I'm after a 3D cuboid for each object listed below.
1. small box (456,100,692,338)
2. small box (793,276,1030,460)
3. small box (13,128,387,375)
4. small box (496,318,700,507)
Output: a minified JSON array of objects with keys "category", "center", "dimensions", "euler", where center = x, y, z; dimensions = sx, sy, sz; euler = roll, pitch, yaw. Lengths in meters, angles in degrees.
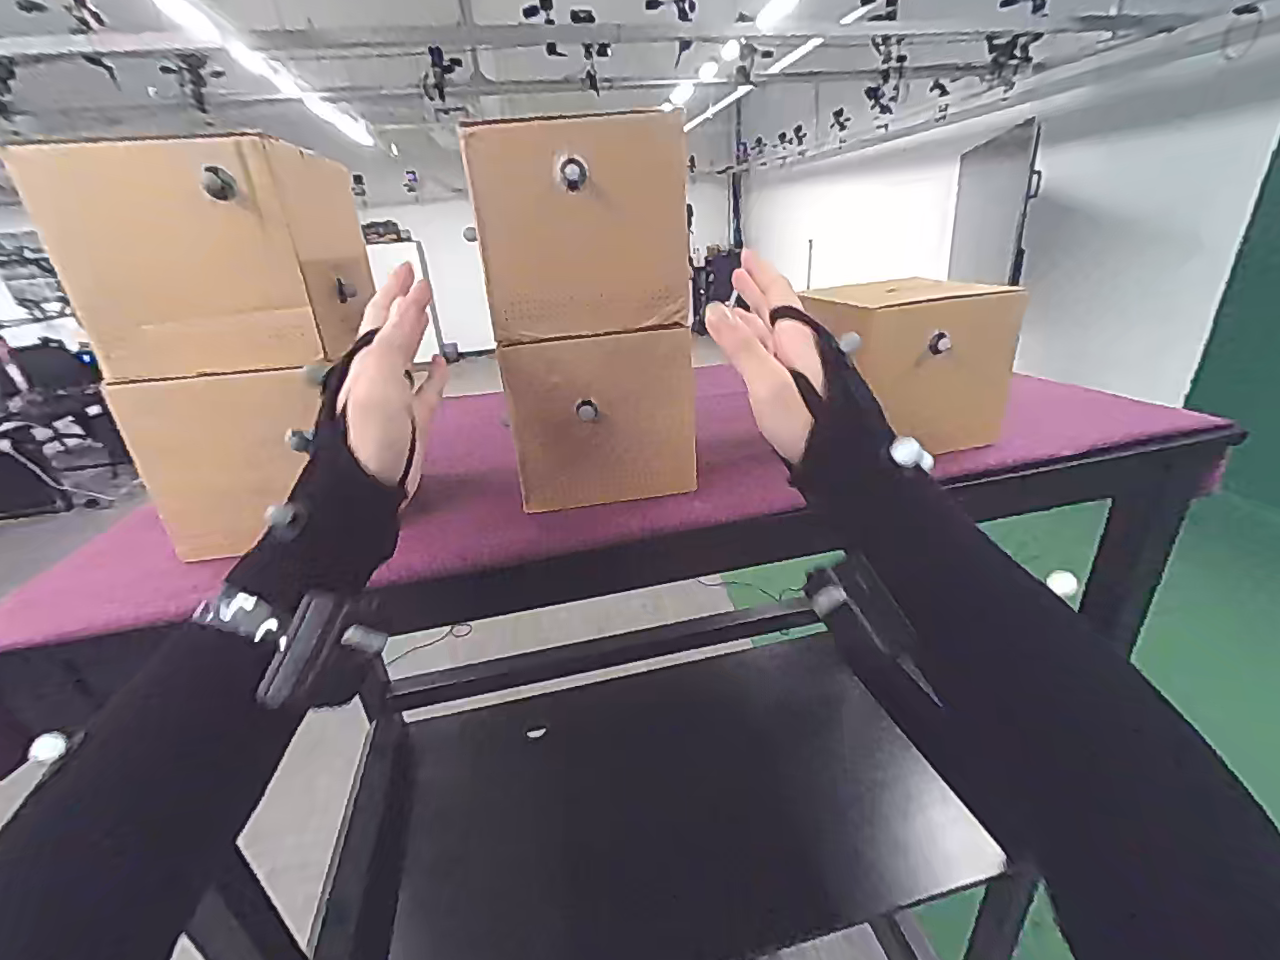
[{"category":"small box","center":[-0.054,-0.233,0.512],"dimensions":[0.179,0.176,0.168],"euler":[-7,24,-4]},{"category":"small box","center":[0.289,-0.131,0.614],"dimensions":[0.179,0.176,0.168],"euler":[-9,25,-9]},{"category":"small box","center":[-0.355,-0.194,0.483],"dimensions":[0.179,0.176,0.168],"euler":[-6,23,-5]},{"category":"small box","center":[-0.042,-0.083,0.577],"dimensions":[0.179,0.176,0.168],"euler":[-9,24,-6]}]
